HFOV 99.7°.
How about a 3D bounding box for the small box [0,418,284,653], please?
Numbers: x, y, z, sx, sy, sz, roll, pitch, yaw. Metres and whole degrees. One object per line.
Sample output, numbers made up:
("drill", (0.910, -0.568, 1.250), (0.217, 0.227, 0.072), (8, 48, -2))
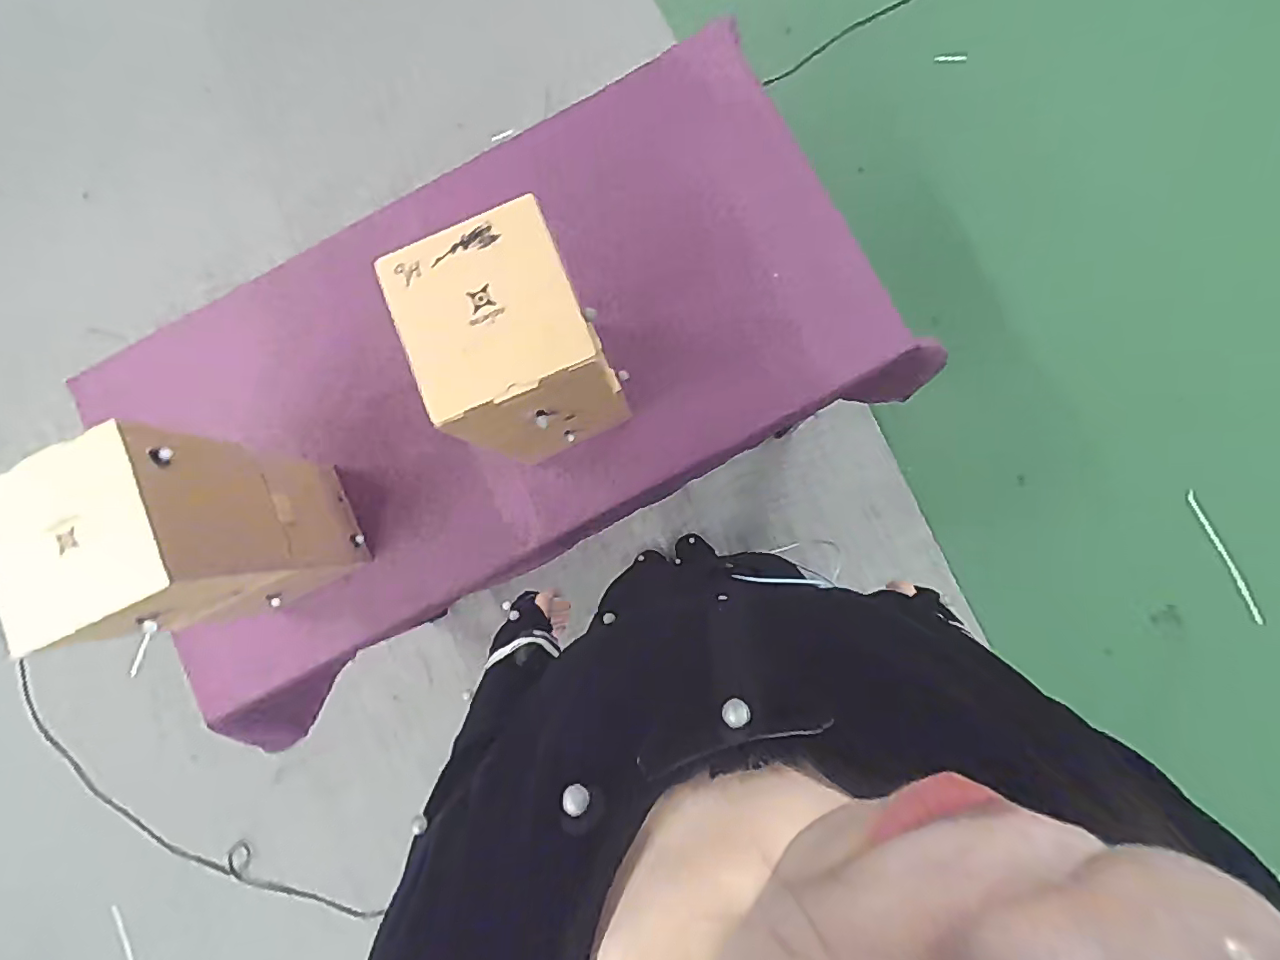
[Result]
("small box", (-0.534, 0.058, 0.585), (0.168, 0.176, 0.179), (-25, 83, 1))

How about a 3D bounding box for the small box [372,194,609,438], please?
("small box", (-0.142, -0.154, 0.579), (0.168, 0.176, 0.179), (-22, 85, 2))

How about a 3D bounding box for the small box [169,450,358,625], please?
("small box", (-0.525, 0.076, 0.746), (0.179, 0.176, 0.168), (-27, 84, 1))
